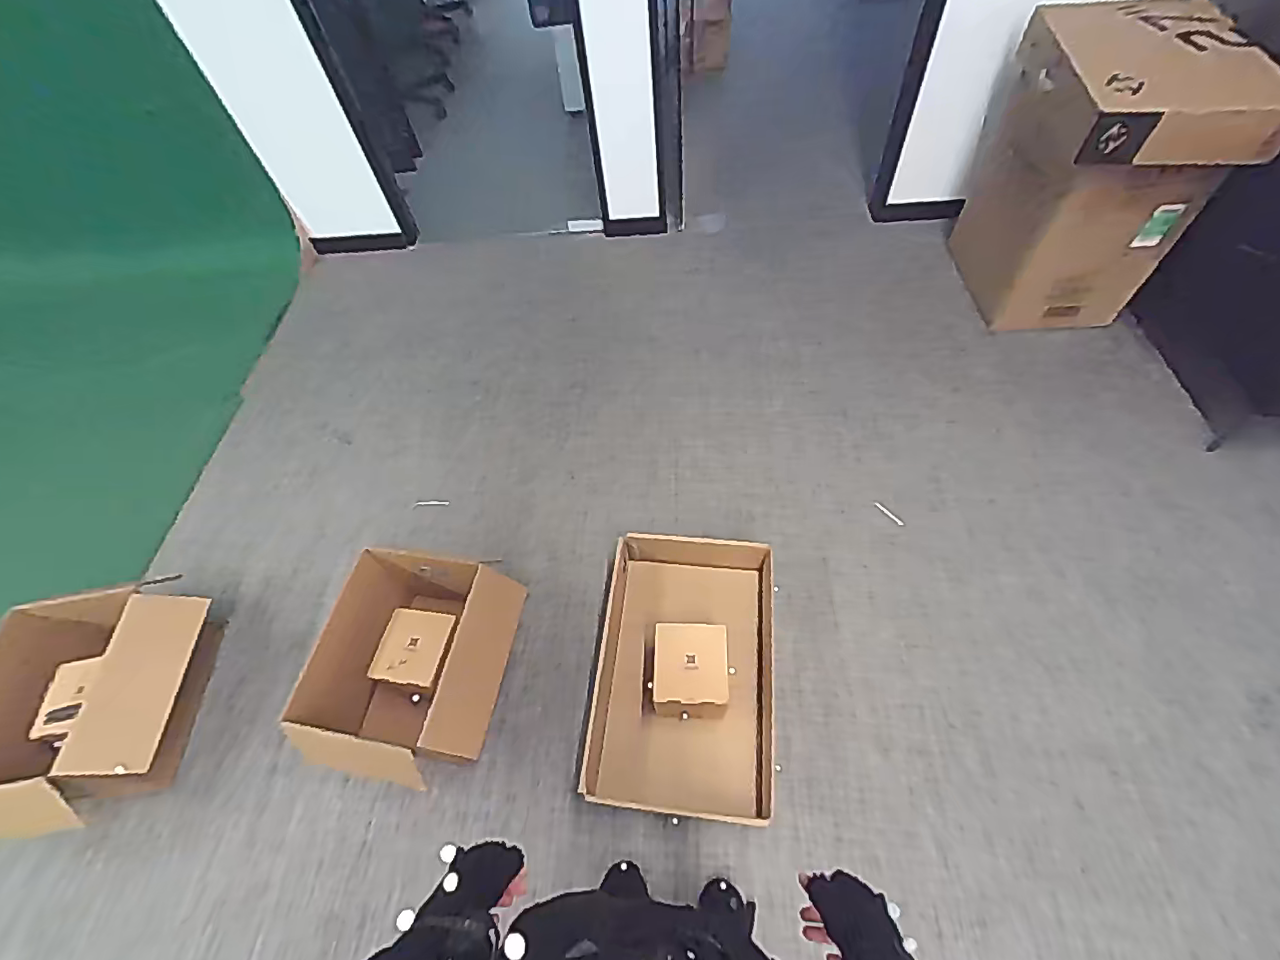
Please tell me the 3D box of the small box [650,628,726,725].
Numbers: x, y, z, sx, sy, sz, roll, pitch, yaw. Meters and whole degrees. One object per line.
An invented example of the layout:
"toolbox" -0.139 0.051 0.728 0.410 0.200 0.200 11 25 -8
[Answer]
"small box" 0.111 0.461 1.268 0.168 0.176 0.179 0 56 5
